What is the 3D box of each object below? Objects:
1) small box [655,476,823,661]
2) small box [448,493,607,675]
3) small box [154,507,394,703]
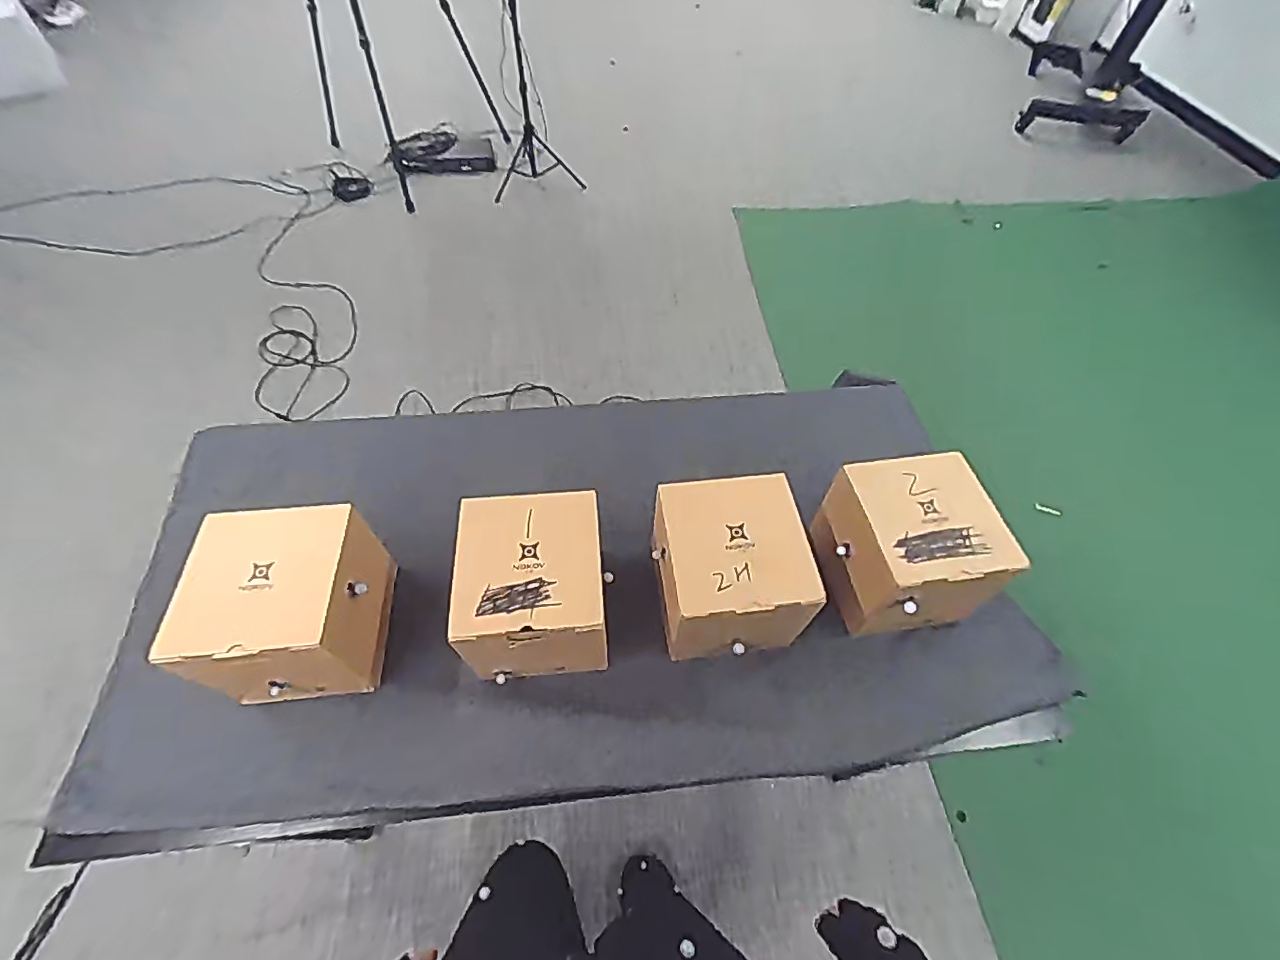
[{"bbox_3d":[0.111,0.117,0.702,0.168,0.176,0.179,-5,56,-4],"label":"small box"},{"bbox_3d":[-0.128,0.137,0.679,0.168,0.176,0.179,-3,55,-5],"label":"small box"},{"bbox_3d":[-0.415,0.153,0.656,0.168,0.176,0.179,-4,55,-6],"label":"small box"}]
